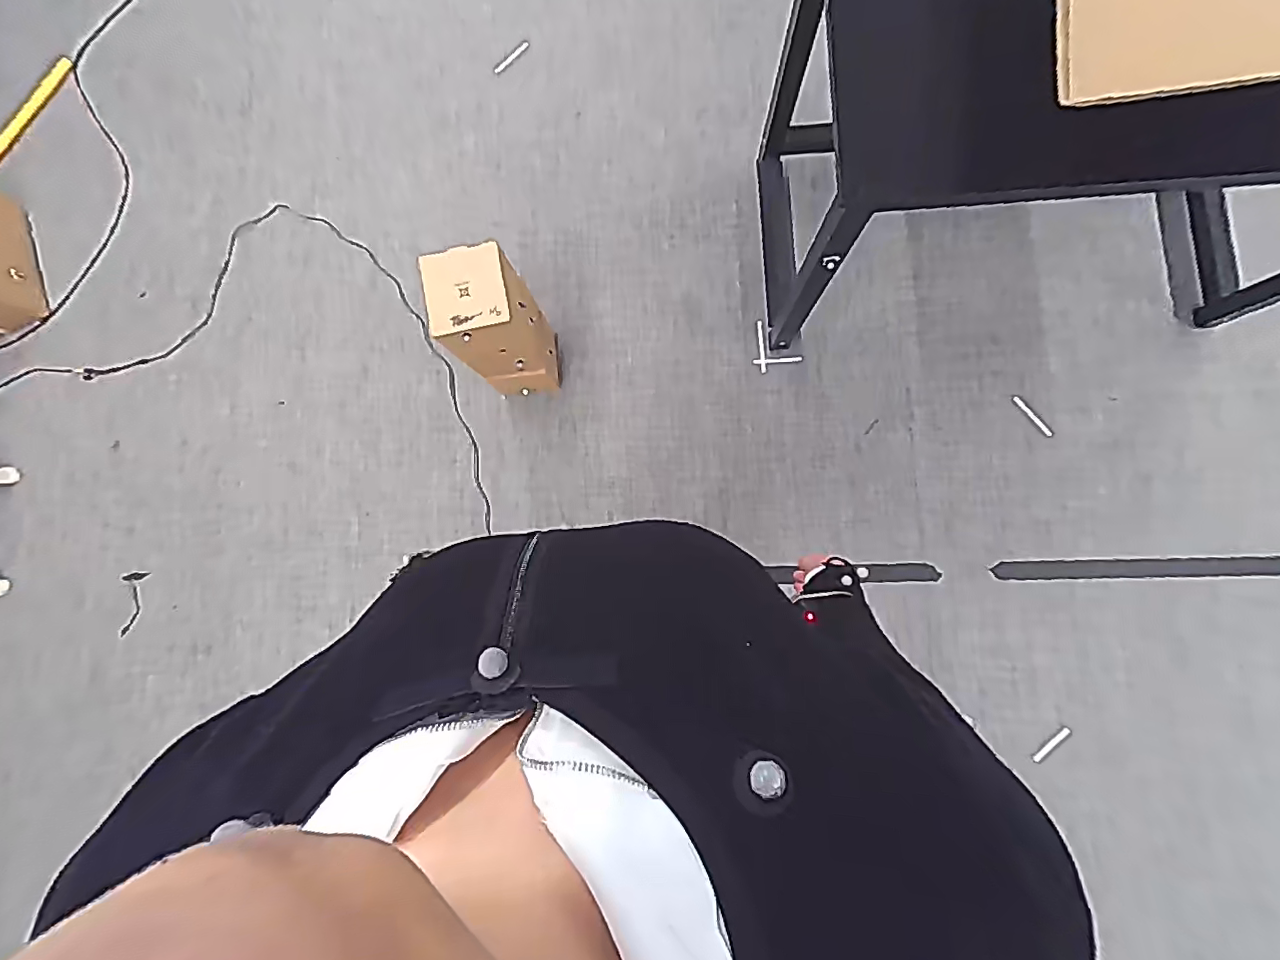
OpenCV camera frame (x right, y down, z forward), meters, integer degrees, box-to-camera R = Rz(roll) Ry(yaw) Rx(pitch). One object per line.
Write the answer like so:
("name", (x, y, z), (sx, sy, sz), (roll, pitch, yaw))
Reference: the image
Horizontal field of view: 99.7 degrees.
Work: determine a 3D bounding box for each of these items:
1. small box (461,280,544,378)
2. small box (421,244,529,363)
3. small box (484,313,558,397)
("small box", (-0.342, -0.362, 1.336), (0.168, 0.176, 0.179), (-9, 82, 2))
("small box", (-0.351, -0.374, 1.172), (0.168, 0.176, 0.179), (-11, 83, 2))
("small box", (-0.329, -0.341, 1.496), (0.168, 0.176, 0.179), (-6, 85, 3))
